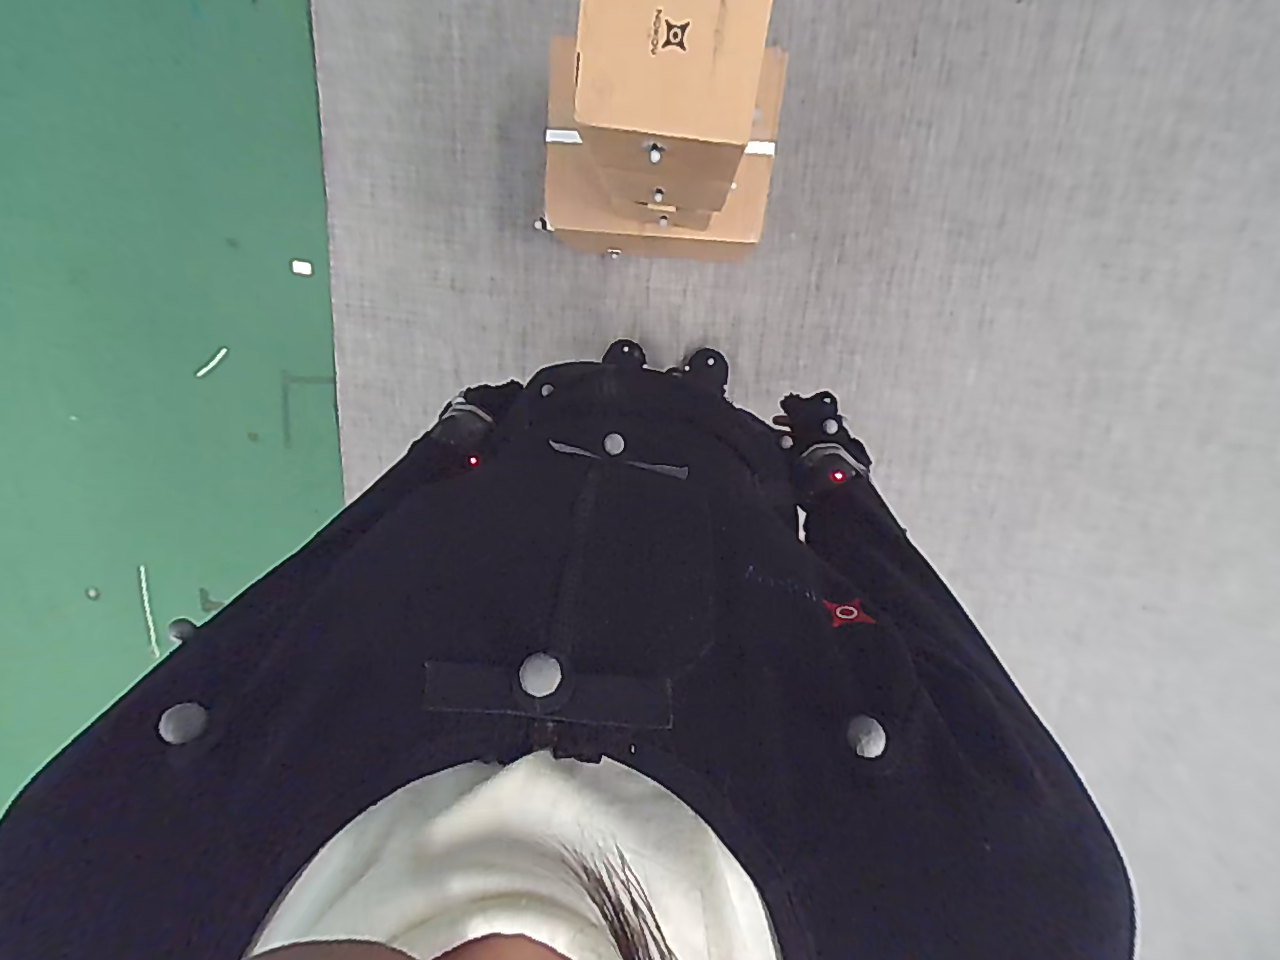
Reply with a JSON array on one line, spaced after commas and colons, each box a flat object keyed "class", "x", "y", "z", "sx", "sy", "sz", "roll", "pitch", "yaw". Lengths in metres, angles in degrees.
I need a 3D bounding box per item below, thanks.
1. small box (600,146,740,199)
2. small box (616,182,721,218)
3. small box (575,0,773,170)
[{"class": "small box", "x": 0.053, "y": -0.490, "z": 0.727, "sx": 0.179, "sy": 0.176, "sz": 0.168, "roll": 9, "pitch": 107, "yaw": 4}, {"class": "small box", "x": 0.062, "y": -0.541, "z": 0.883, "sx": 0.168, "sy": 0.176, "sz": 0.179, "roll": 9, "pitch": 108, "yaw": 3}, {"class": "small box", "x": 0.039, "y": -0.444, "z": 0.572, "sx": 0.179, "sy": 0.176, "sz": 0.168, "roll": 8, "pitch": 108, "yaw": 2}]
